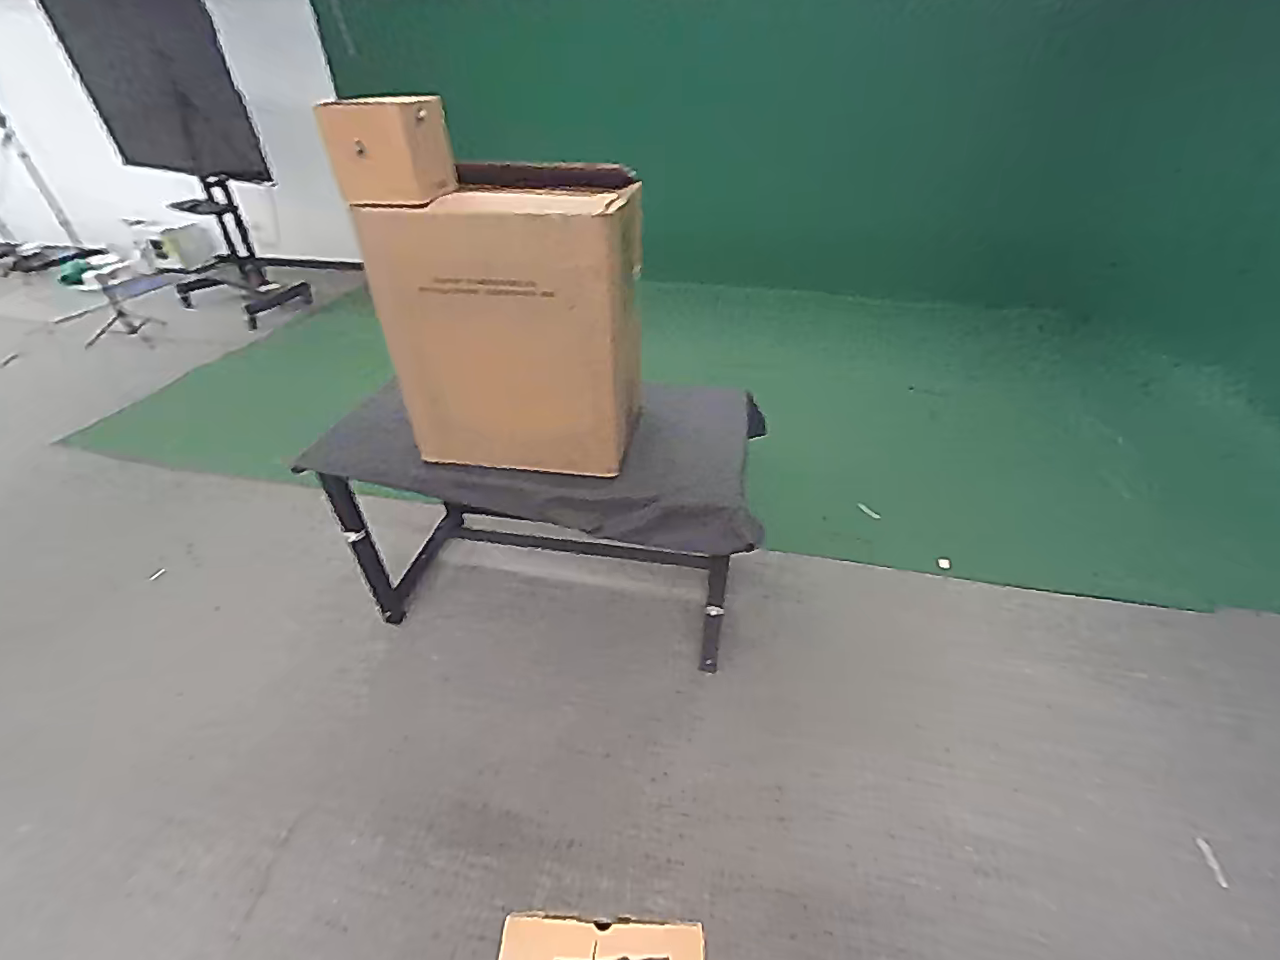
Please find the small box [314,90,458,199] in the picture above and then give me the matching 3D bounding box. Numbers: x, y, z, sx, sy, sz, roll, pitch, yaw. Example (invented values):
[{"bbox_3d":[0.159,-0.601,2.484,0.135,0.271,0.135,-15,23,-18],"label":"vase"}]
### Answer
[{"bbox_3d":[-0.490,-0.665,1.072,0.179,0.176,0.168,5,39,8],"label":"small box"}]
